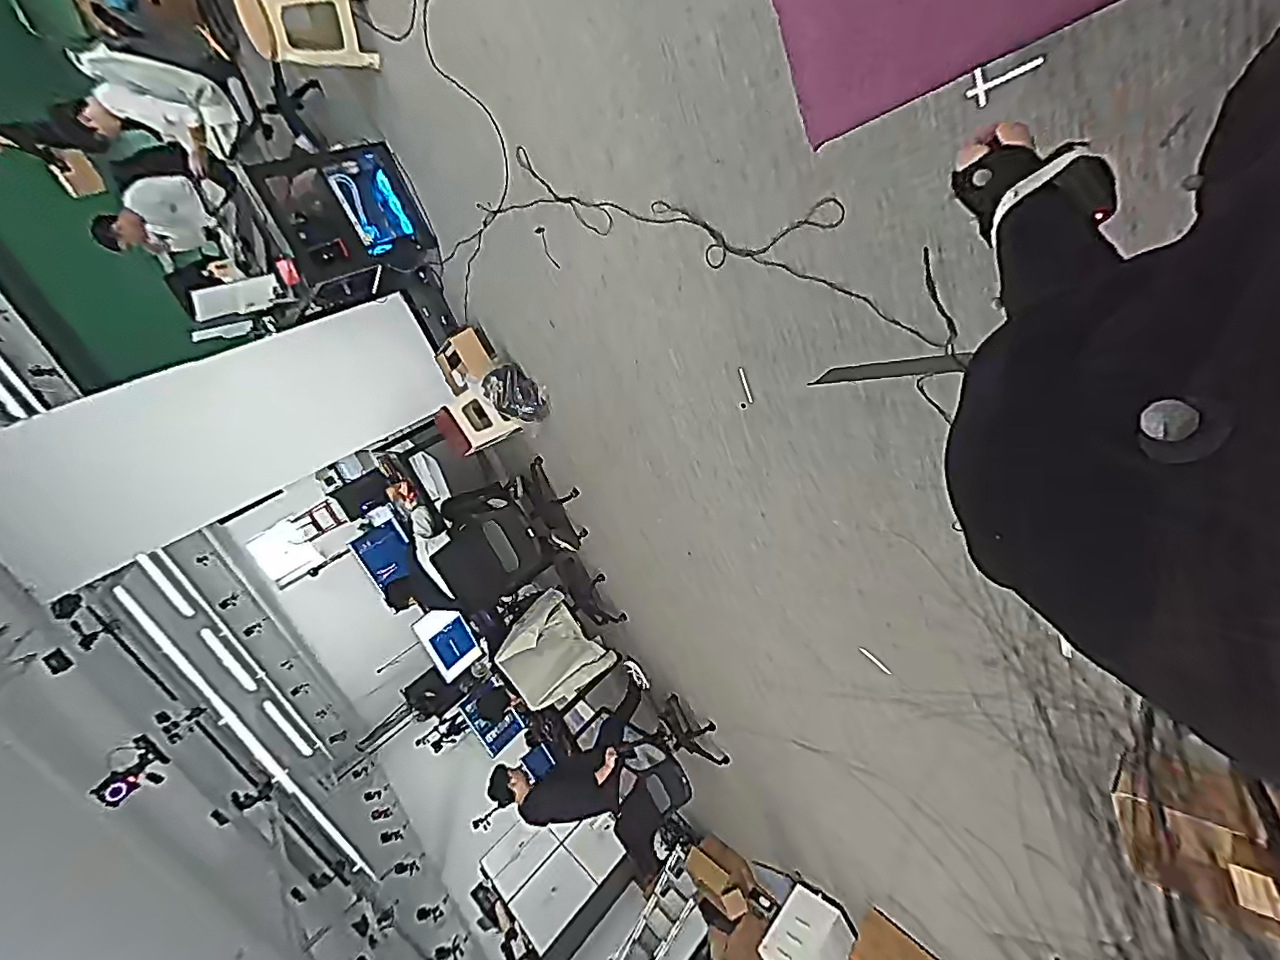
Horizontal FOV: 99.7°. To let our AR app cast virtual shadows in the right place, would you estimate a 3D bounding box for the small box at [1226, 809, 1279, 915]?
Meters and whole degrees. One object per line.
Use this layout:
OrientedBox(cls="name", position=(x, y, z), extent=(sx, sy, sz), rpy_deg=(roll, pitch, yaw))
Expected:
OrientedBox(cls="small box", position=(1.694, 1.023, 1.427), extent=(0.168, 0.176, 0.179), rpy_deg=(-9, 113, 55))
